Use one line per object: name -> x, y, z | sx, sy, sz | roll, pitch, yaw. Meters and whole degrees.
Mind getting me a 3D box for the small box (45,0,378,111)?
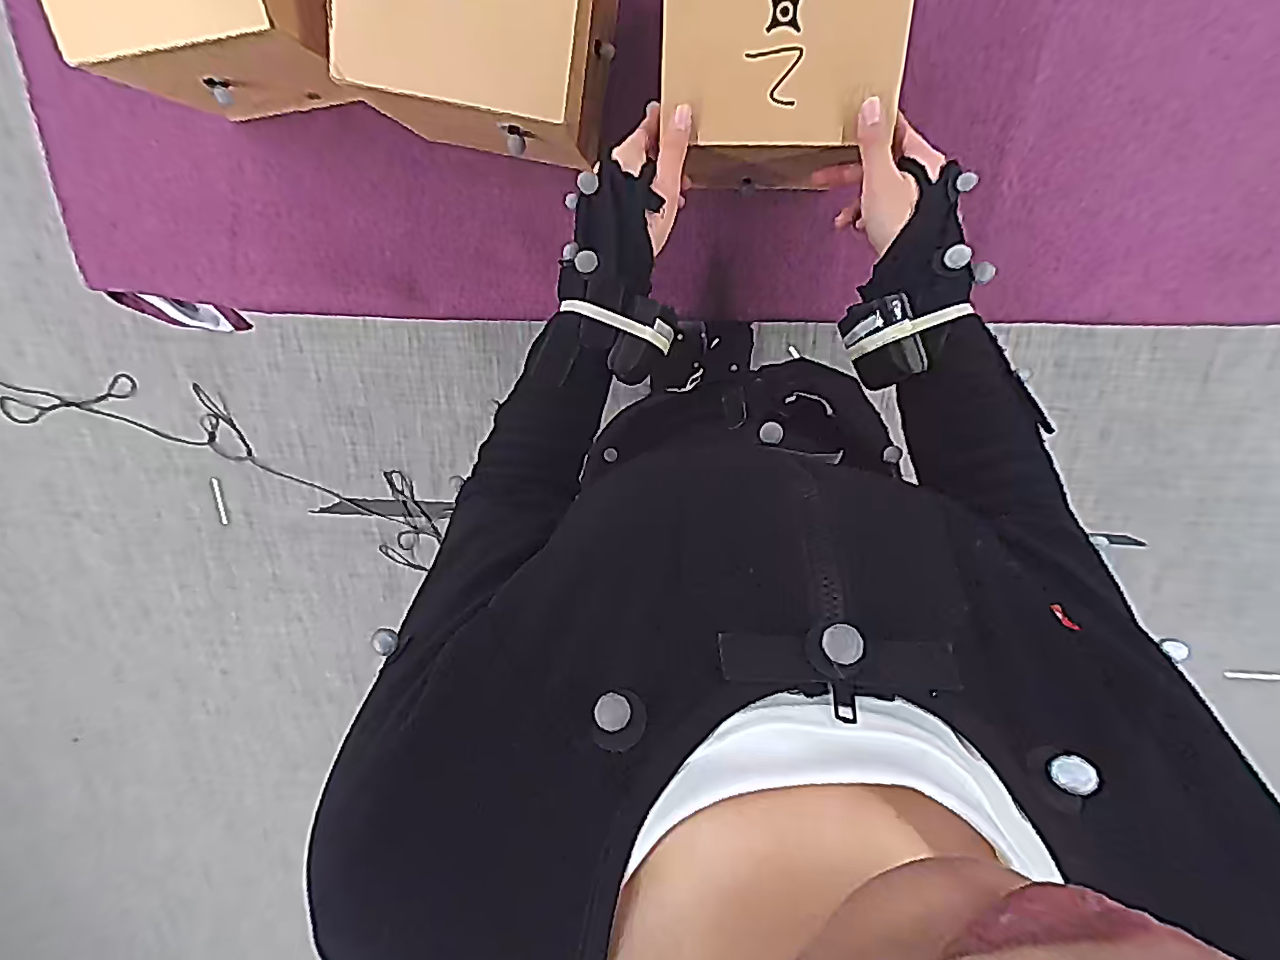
small box -> -0.346, -0.426, 0.438 | 0.168, 0.176, 0.179 | -6, 109, 6
